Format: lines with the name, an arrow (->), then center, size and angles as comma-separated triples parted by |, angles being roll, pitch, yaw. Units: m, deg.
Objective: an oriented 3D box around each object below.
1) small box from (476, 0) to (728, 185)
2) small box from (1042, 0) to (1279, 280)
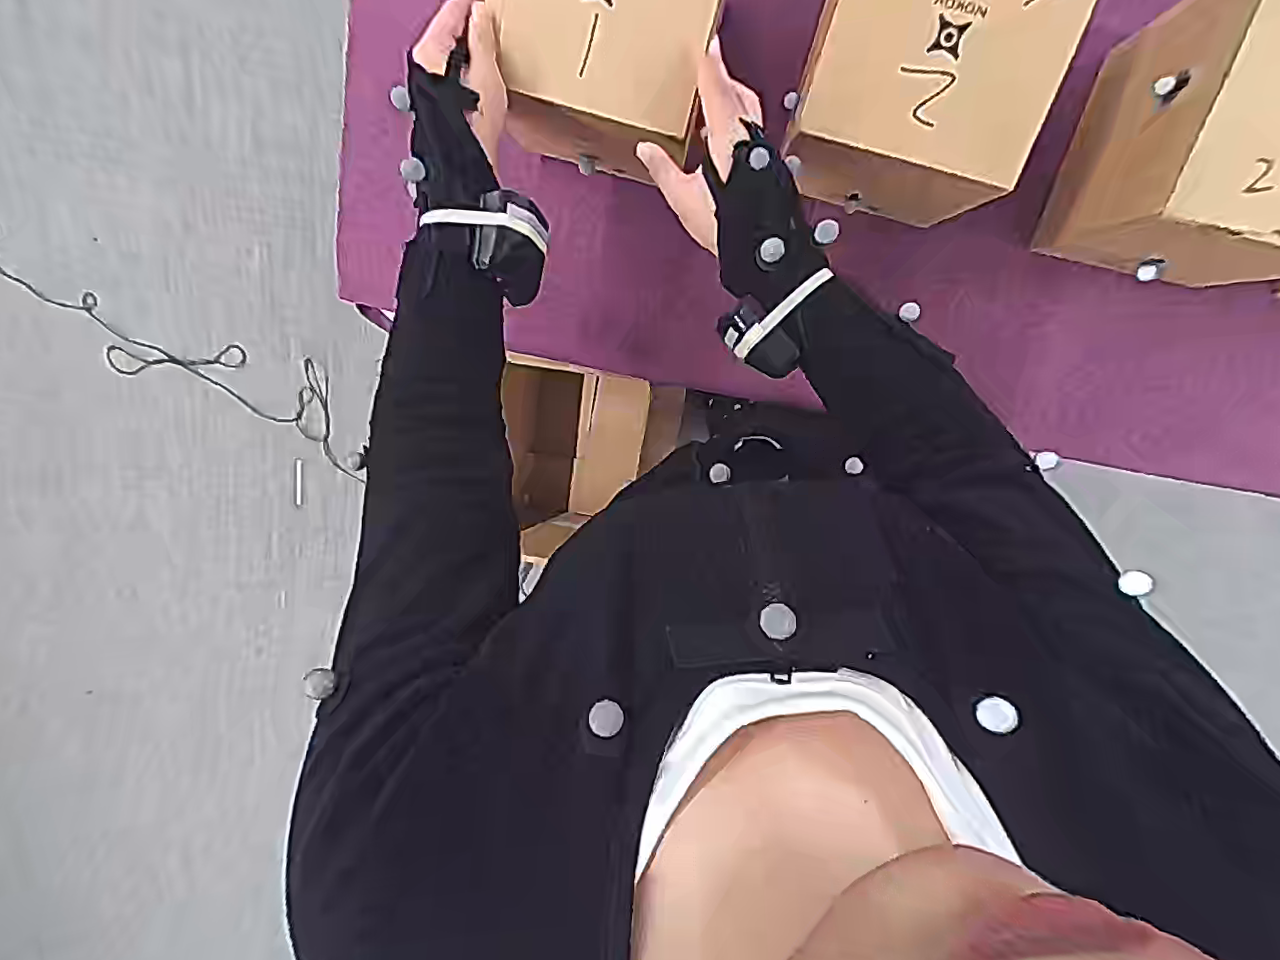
small box -> -0.018, -0.378, 0.452 | 0.168, 0.176, 0.179 | 15, 106, -2
small box -> 0.479, -0.275, 0.437 | 0.168, 0.176, 0.179 | 14, 106, 3
